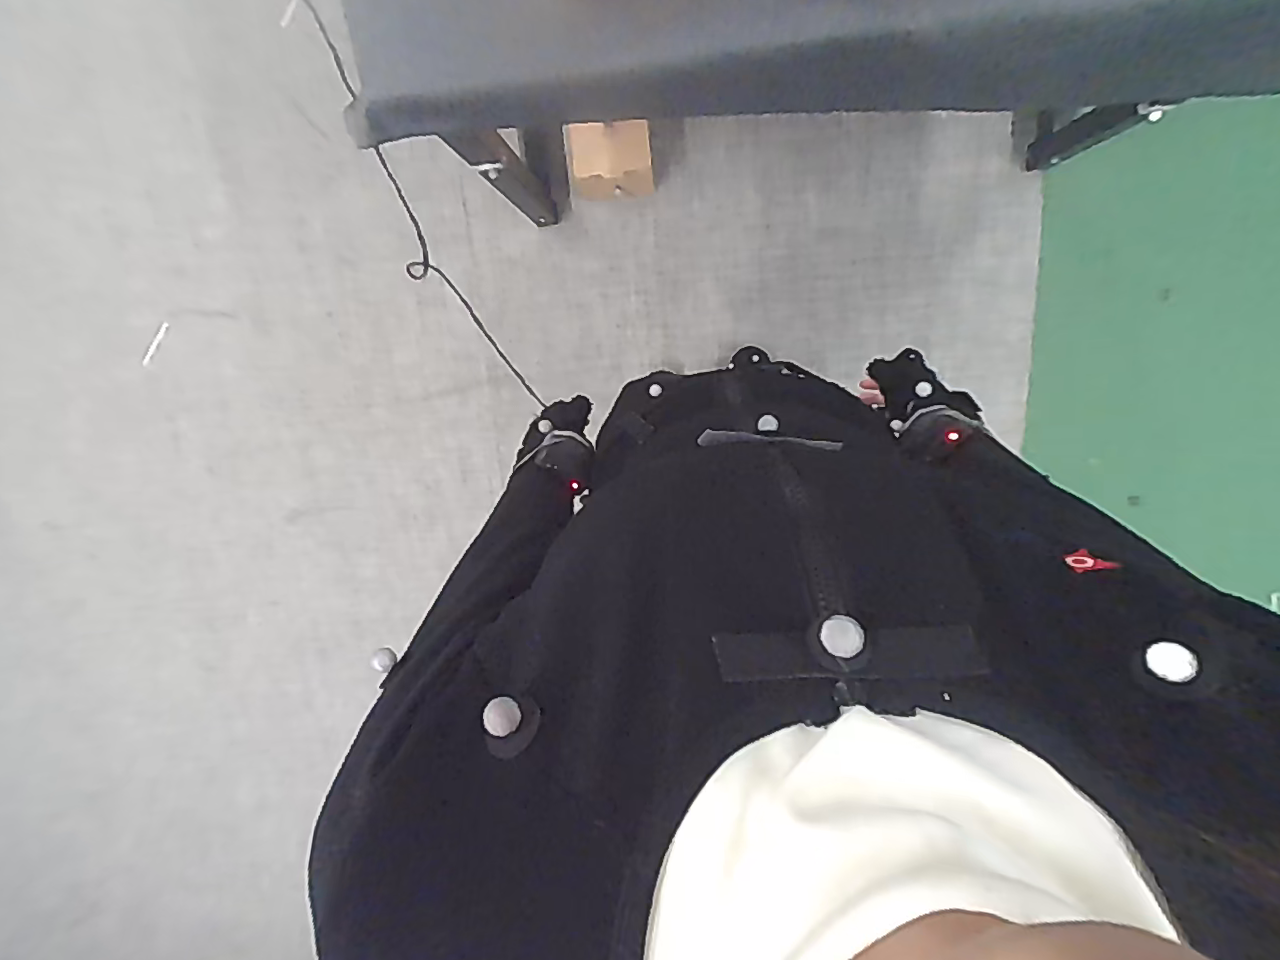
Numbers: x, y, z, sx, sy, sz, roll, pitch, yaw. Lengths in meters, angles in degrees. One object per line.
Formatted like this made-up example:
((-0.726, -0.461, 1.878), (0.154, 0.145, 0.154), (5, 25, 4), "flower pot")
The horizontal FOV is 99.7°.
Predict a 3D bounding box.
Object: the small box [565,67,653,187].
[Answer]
((-0.061, -0.759, 1.185), (0.168, 0.176, 0.179), (-4, 104, 4), "small box")
